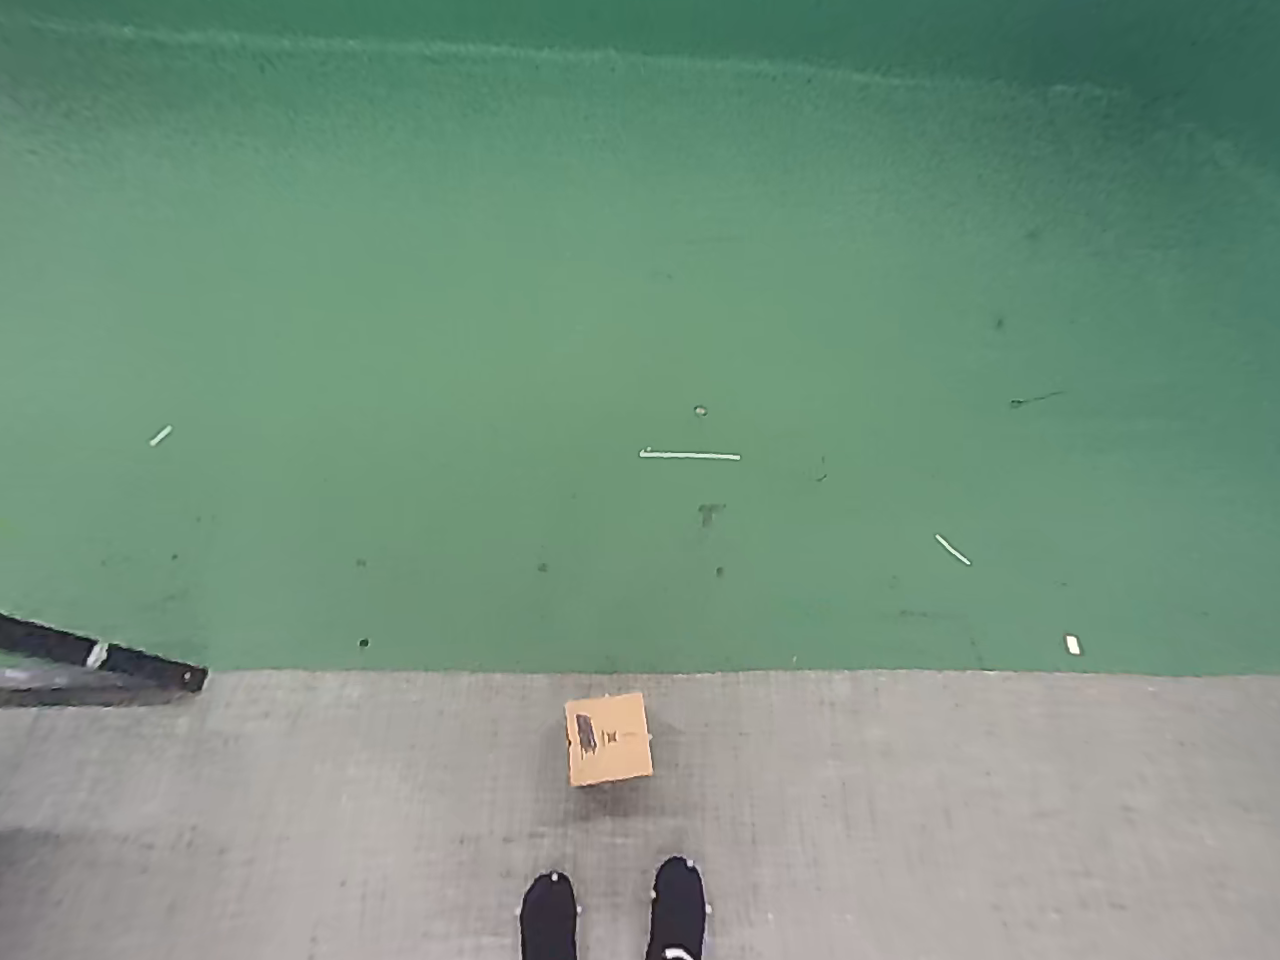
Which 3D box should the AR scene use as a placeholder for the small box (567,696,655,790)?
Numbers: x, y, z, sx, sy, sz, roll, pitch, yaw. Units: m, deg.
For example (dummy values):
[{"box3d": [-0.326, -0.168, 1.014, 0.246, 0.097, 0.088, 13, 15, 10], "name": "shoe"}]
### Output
[{"box3d": [-0.066, 0.593, 1.212, 0.179, 0.176, 0.168, -5, 62, -6], "name": "small box"}]
